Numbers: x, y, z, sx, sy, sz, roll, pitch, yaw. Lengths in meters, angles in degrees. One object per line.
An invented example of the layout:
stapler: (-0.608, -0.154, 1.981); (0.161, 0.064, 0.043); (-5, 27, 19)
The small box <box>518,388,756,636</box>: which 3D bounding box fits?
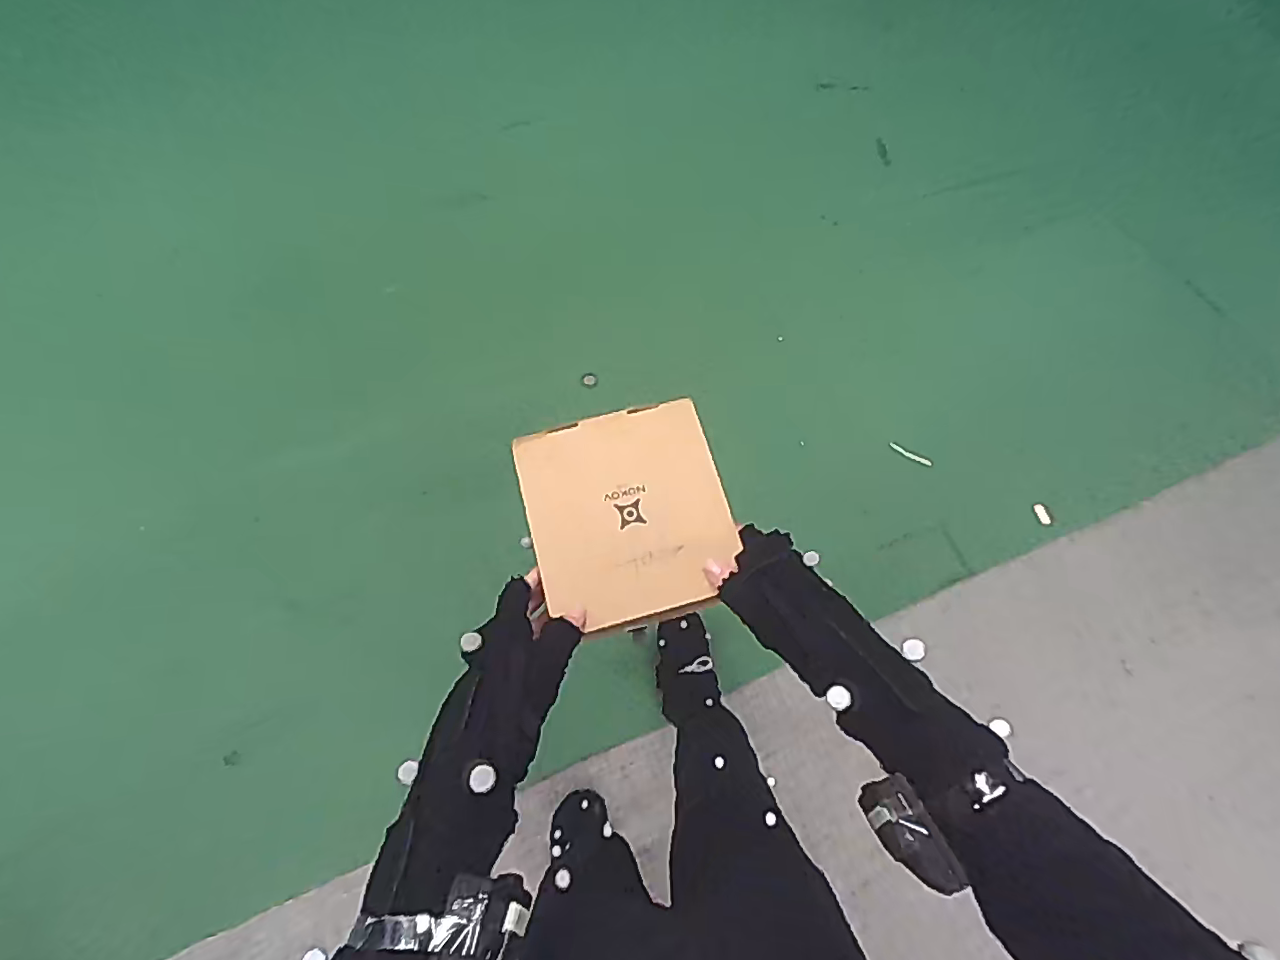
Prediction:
small box: (-0.009, 0.040, 0.516); (0.168, 0.176, 0.179); (-13, 72, -5)
